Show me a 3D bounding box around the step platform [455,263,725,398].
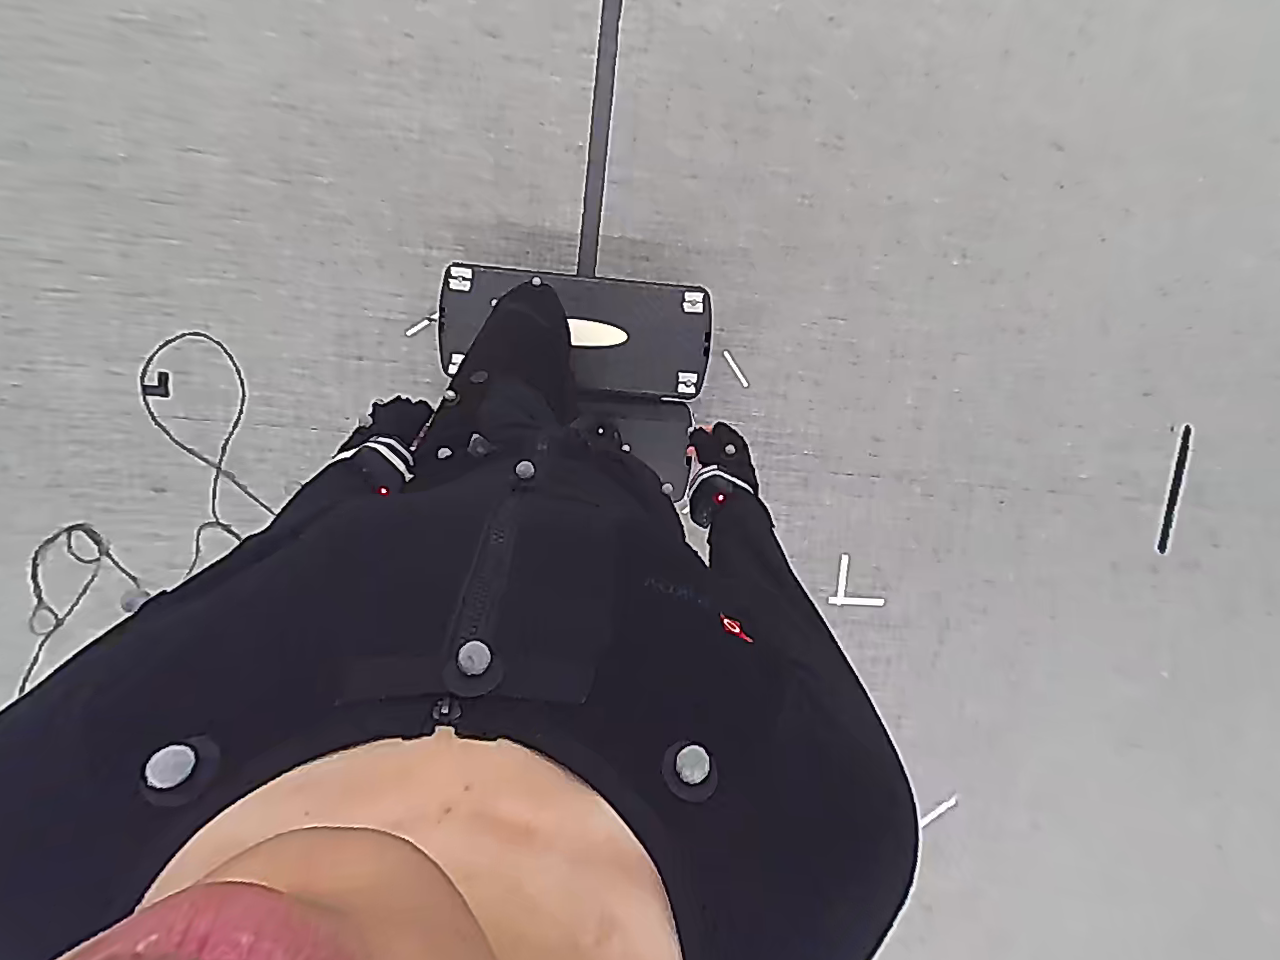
[{"bbox_3d":[-0.124,-0.381,1.412,0.684,0.204,0.286,4,98,-4],"label":"step platform"}]
